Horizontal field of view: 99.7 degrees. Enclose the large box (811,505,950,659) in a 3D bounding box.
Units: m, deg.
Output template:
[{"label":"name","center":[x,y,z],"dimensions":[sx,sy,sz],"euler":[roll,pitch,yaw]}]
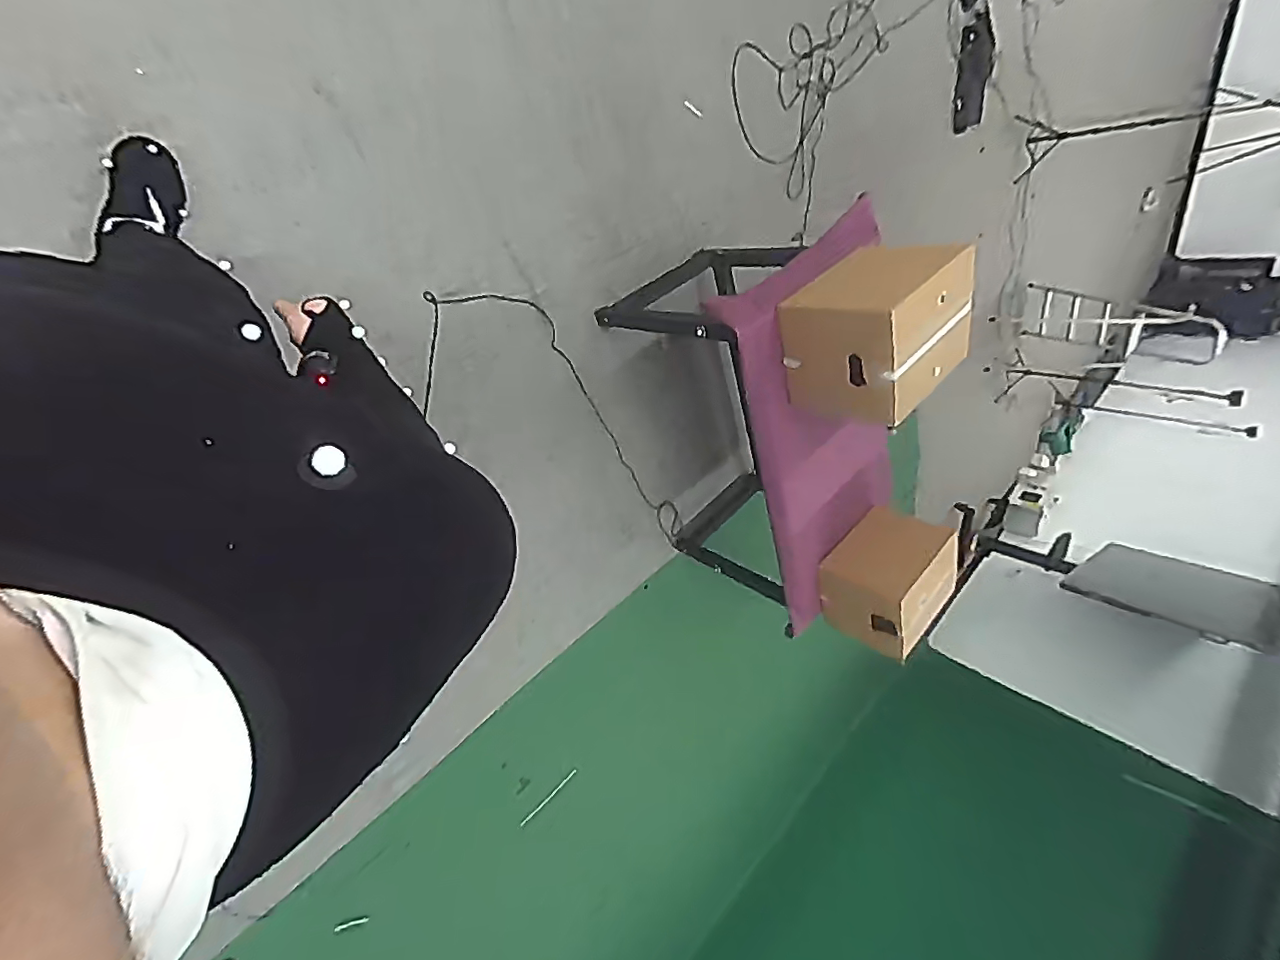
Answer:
[{"label":"large box","center":[0.892,0.360,2.006],"dimensions":[0.408,0.320,0.320],"euler":[-36,126,-26]}]
